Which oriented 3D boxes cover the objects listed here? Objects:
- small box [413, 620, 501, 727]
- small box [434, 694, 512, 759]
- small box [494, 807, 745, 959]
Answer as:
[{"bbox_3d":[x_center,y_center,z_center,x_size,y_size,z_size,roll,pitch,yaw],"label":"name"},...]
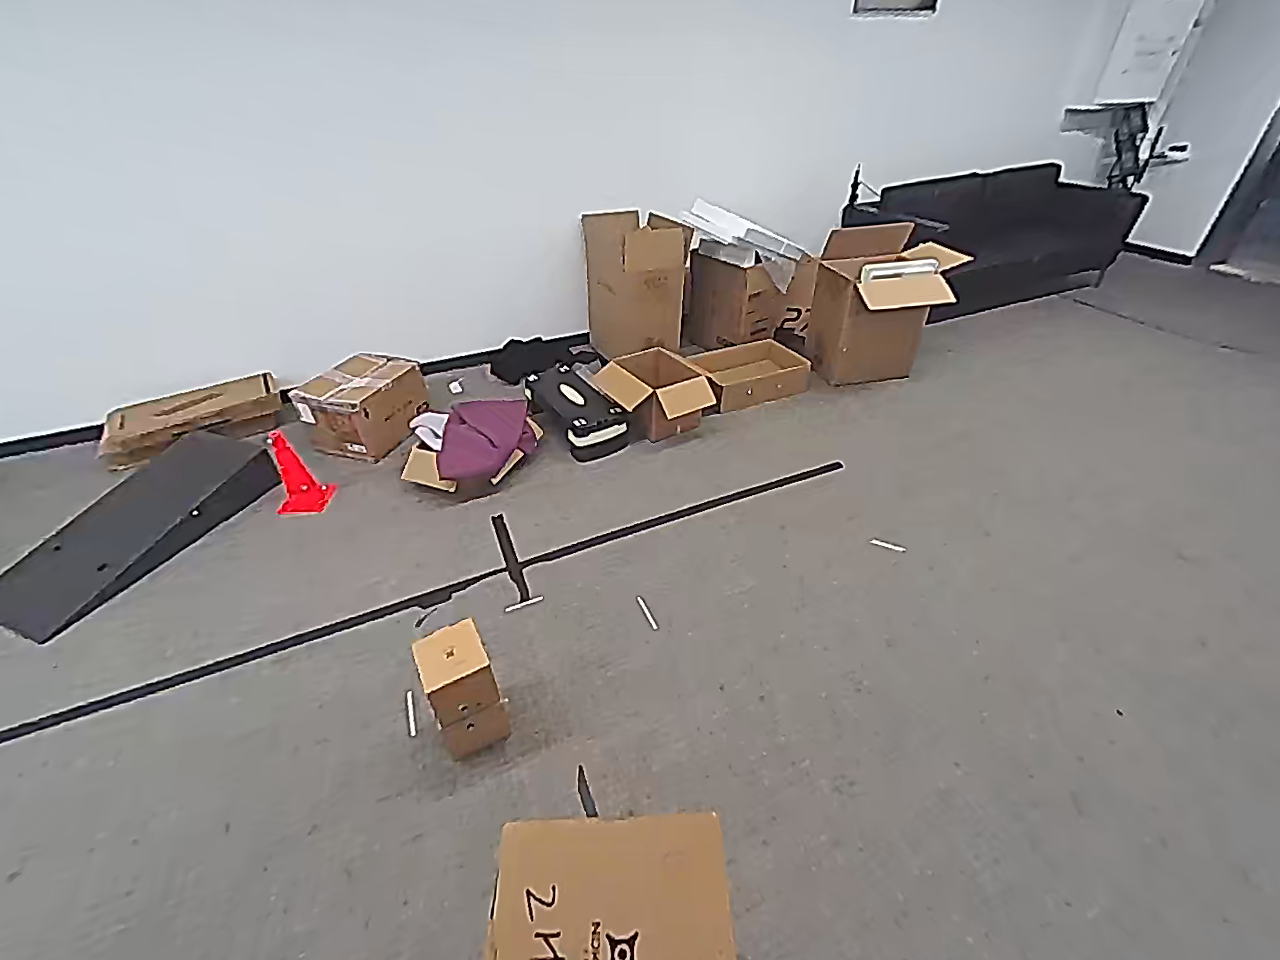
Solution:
[{"bbox_3d":[-0.489,0.519,1.452,0.168,0.176,0.179,-22,43,-23],"label":"small box"},{"bbox_3d":[-0.480,0.655,1.542,0.179,0.176,0.168,-18,40,-21],"label":"small box"},{"bbox_3d":[-0.012,0.380,0.434,0.179,0.176,0.168,-4,44,0],"label":"small box"}]
